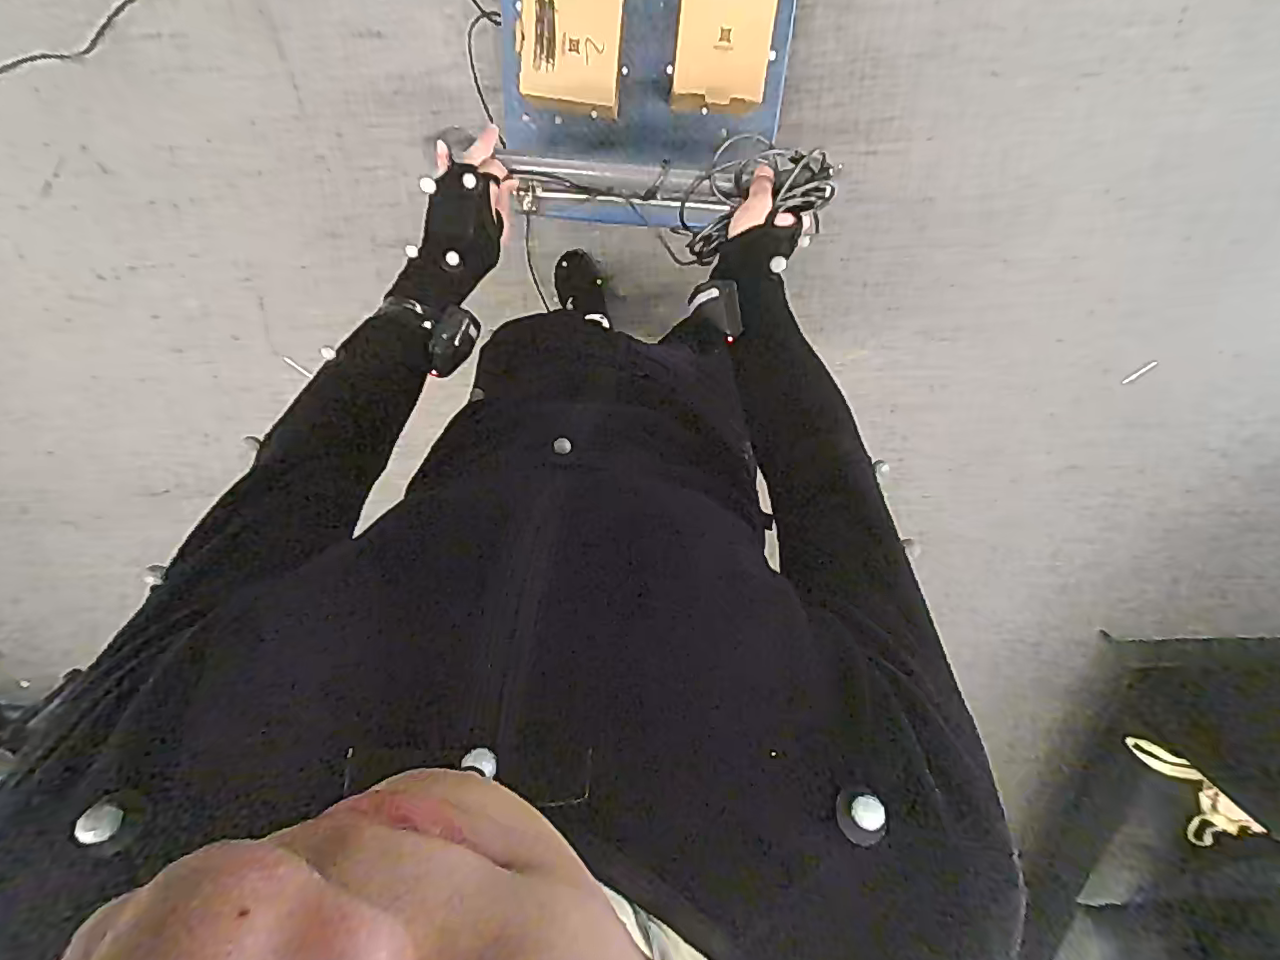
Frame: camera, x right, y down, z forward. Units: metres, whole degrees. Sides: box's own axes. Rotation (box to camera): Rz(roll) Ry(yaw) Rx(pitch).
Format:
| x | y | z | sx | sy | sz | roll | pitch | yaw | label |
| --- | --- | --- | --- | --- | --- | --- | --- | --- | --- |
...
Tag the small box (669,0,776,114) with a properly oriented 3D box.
| x | y | z | sx | sy | sz | roll | pitch | yaw | label |
| --- | --- | --- | --- | --- | --- | --- | --- | --- | --- |
| 0.145 | -0.811 | 1.015 | 0.168 | 0.176 | 0.179 | 5 | 118 | -2 | small box |
